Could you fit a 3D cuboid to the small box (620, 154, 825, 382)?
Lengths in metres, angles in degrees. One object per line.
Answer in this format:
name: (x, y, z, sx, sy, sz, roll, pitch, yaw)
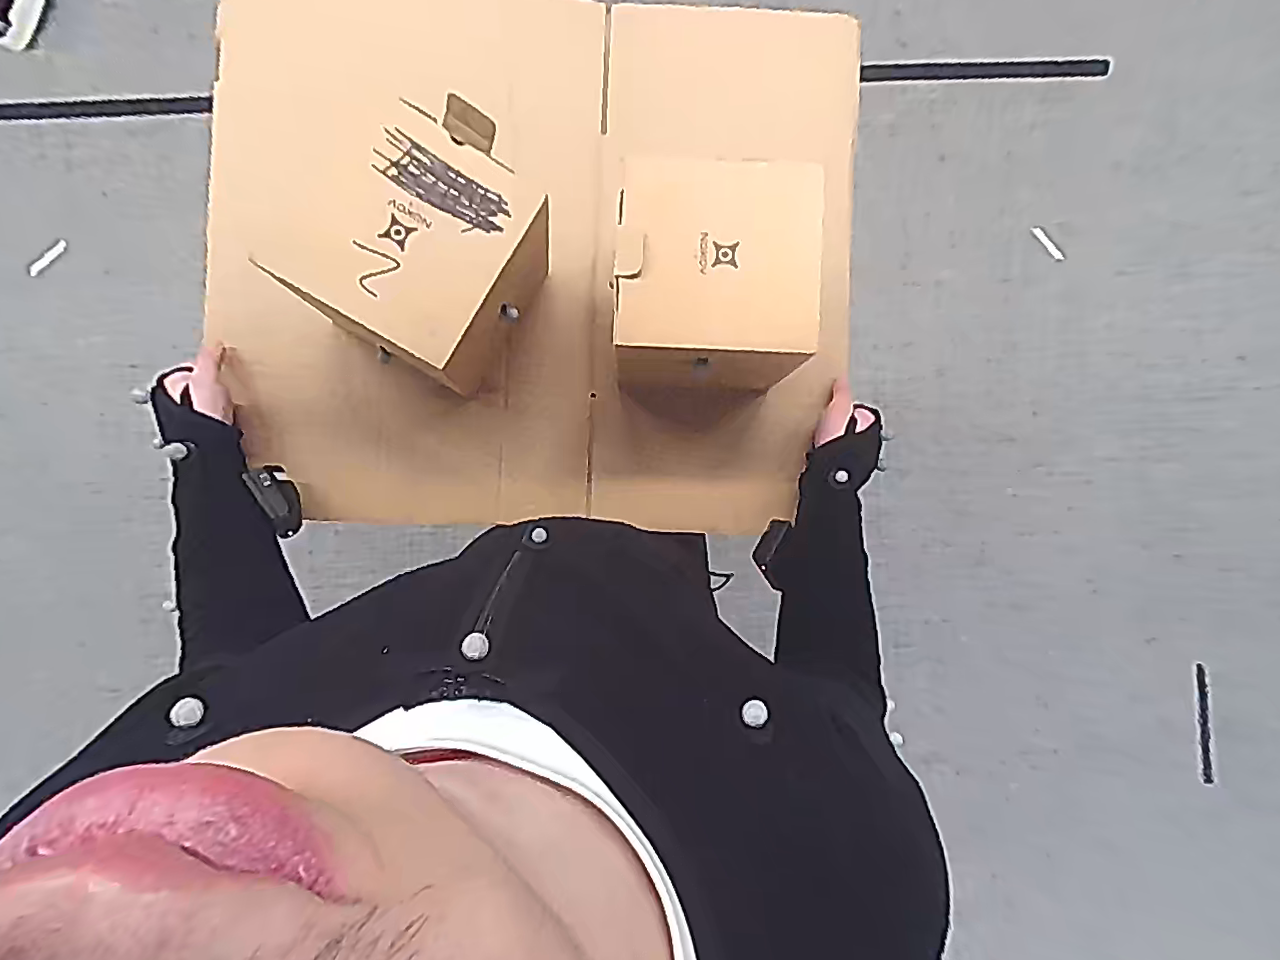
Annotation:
small box: (0.071, -0.199, 0.554, 0.179, 0.176, 0.168, 2, 89, 0)
